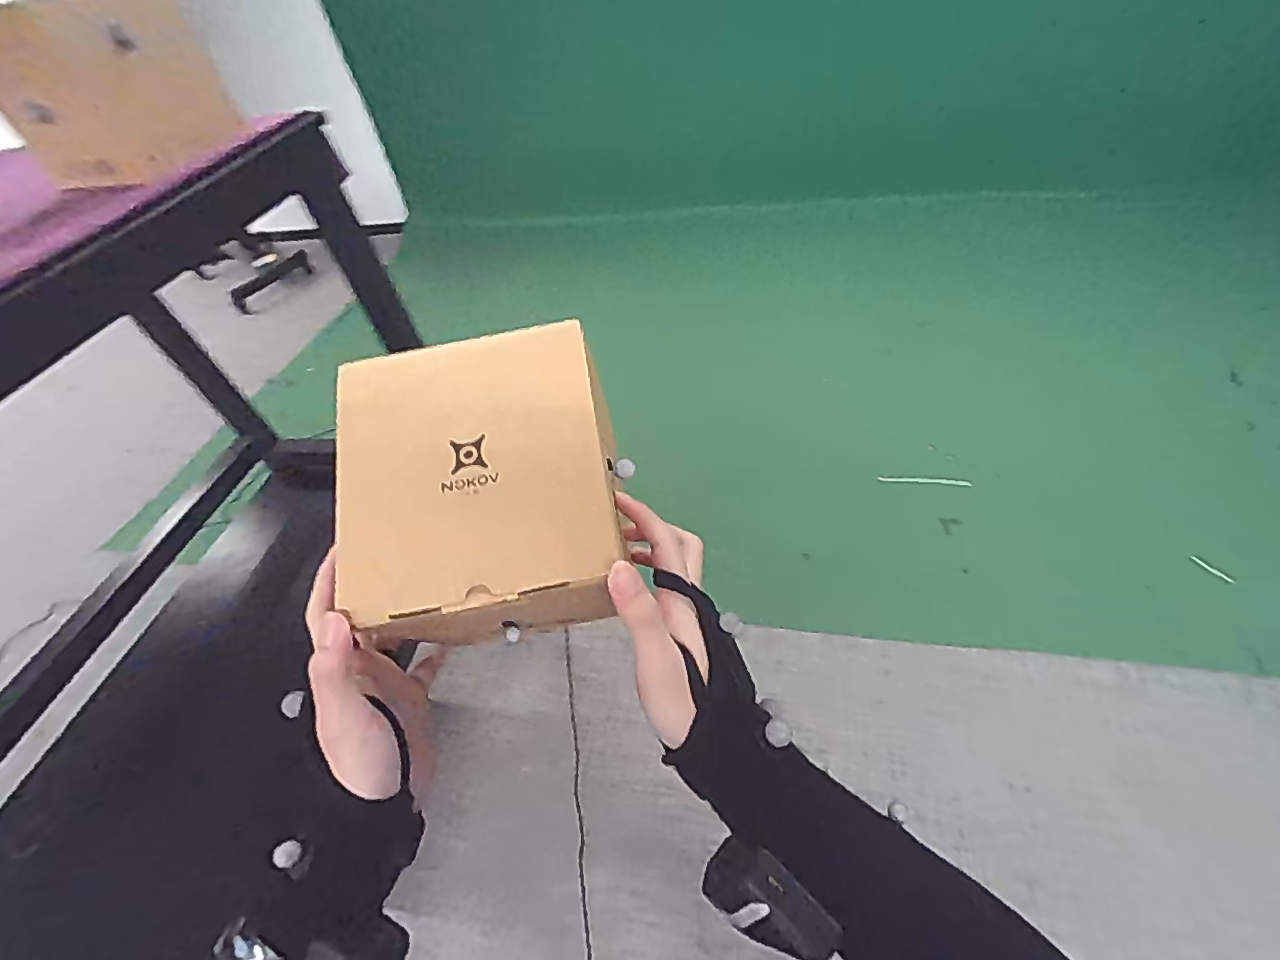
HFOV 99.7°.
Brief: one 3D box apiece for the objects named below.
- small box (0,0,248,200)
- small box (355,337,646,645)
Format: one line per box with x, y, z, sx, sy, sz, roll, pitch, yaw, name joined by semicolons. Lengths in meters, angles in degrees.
-0.642;-0.459;0.660;0.168;0.176;0.179;6;50;15;small box
-0.091;0.022;0.414;0.168;0.176;0.179;-10;70;0;small box
